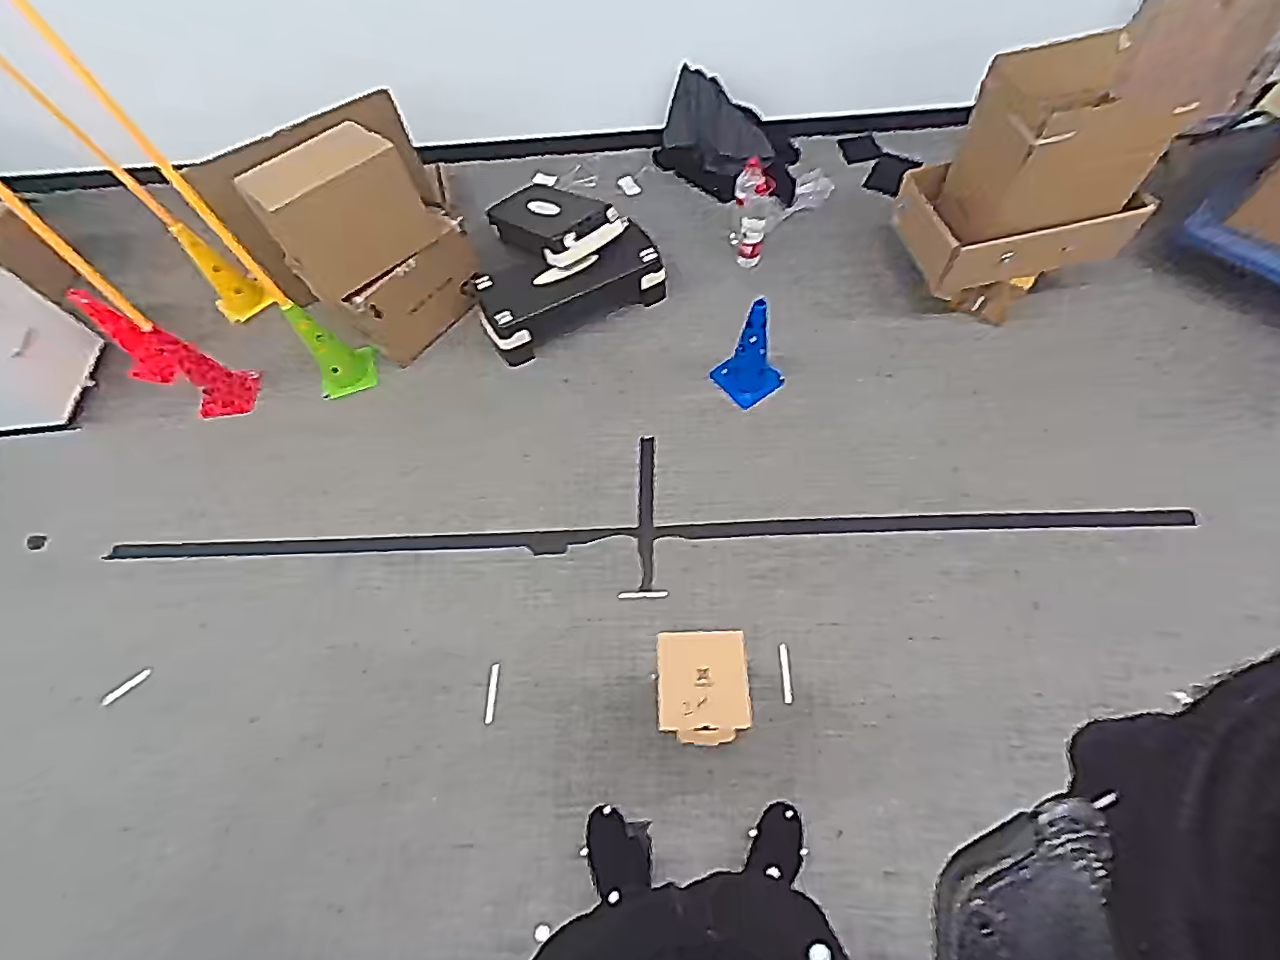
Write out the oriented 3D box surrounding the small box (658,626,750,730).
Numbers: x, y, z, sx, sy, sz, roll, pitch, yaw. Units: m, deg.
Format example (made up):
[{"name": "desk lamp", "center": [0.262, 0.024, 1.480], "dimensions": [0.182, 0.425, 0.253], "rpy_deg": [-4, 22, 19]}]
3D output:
[{"name": "small box", "center": [0.118, 0.395, 1.070], "dimensions": [0.168, 0.176, 0.179], "rpy_deg": [-2, 64, 3]}]
